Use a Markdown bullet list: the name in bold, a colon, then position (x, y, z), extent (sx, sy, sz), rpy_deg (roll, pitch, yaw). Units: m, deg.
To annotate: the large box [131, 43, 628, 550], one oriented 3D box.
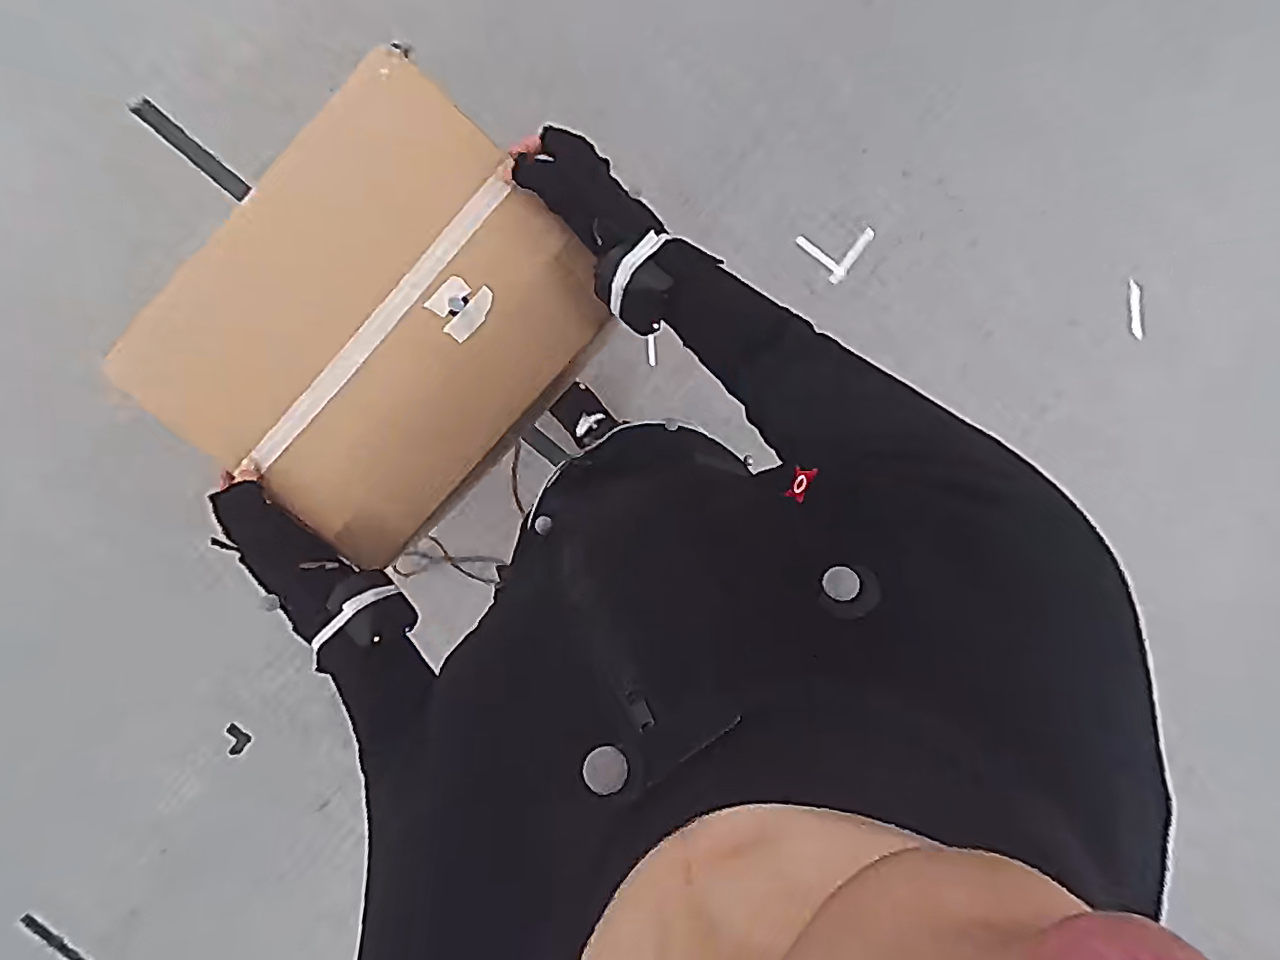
- **large box**: position (-0.268, -0.187, 0.686), extent (0.320, 0.320, 0.408), rpy_deg (43, 91, -11)
